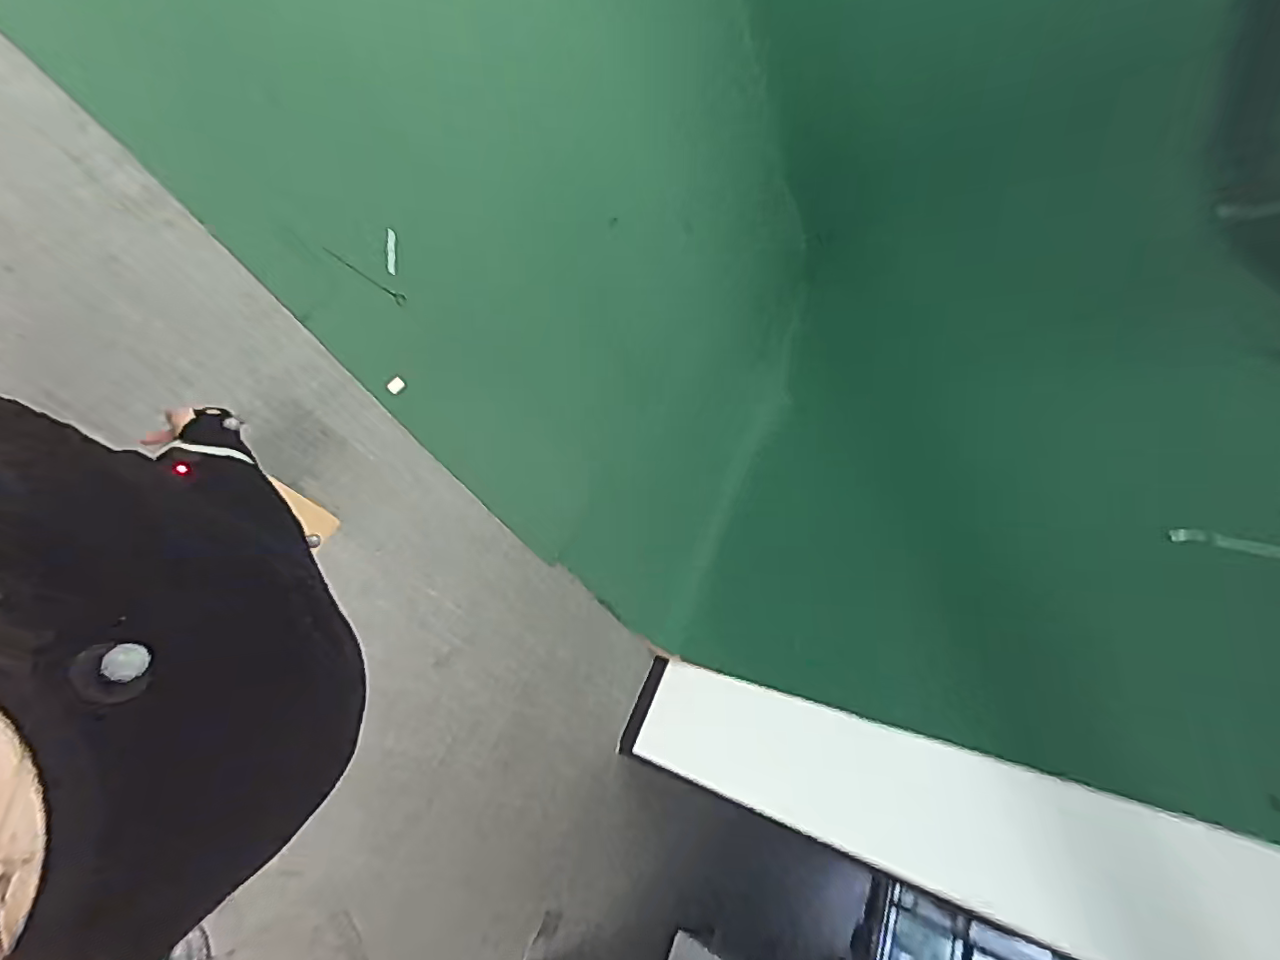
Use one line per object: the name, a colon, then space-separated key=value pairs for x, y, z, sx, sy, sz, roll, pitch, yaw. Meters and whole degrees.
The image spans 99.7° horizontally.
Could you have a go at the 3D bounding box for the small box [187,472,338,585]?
small box: x=-0.787 y=0.095 z=1.127 sx=0.179 sy=0.176 sz=0.168 roll=53 pitch=55 yaw=-41
